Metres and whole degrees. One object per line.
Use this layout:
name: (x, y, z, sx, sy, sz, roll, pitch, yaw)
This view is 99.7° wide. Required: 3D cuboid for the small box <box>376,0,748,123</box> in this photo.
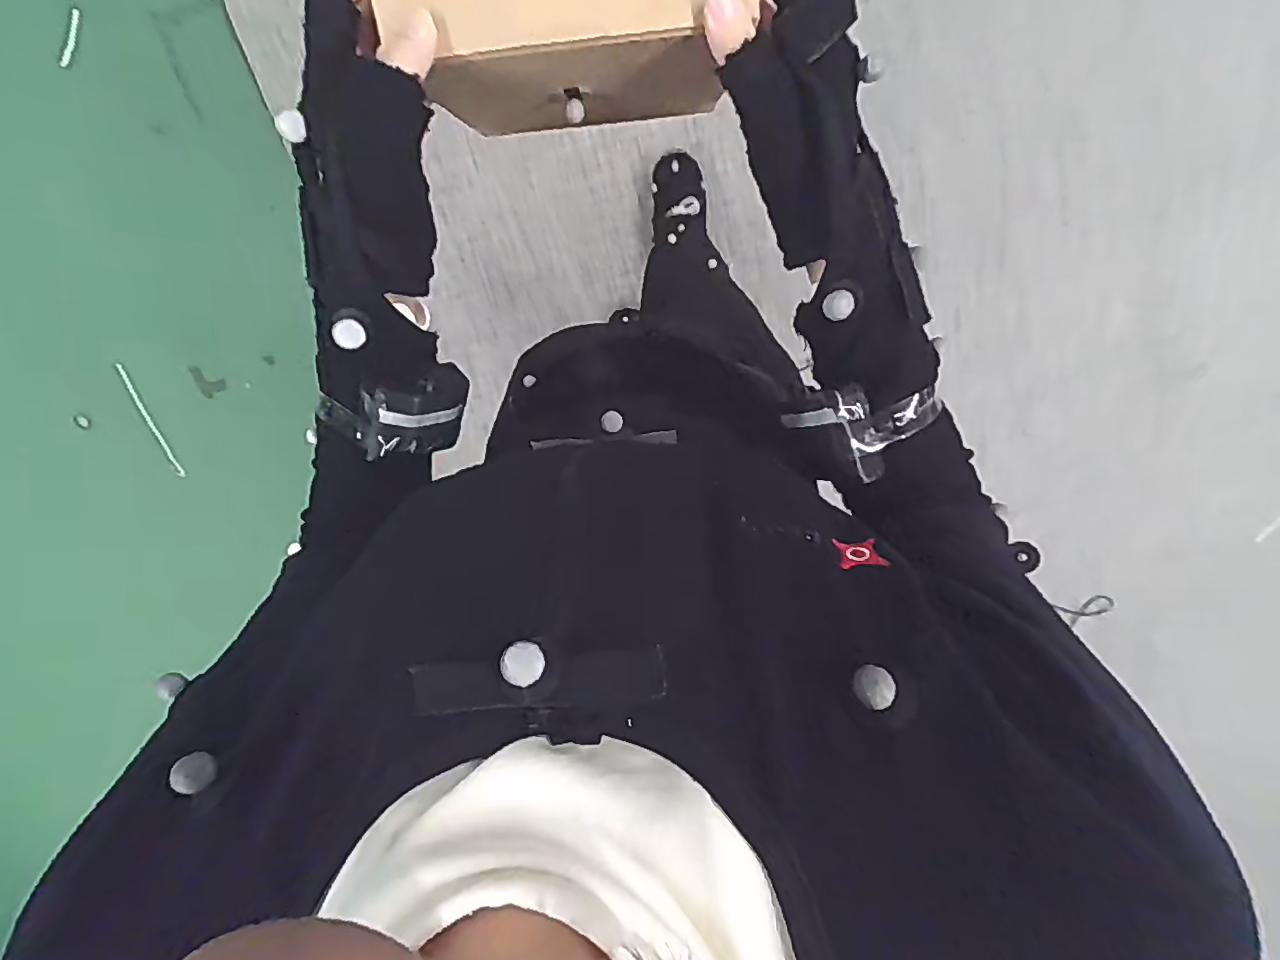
small box: (-0.041, -0.317, 0.298, 0.179, 0.176, 0.168, -4, 112, 4)
